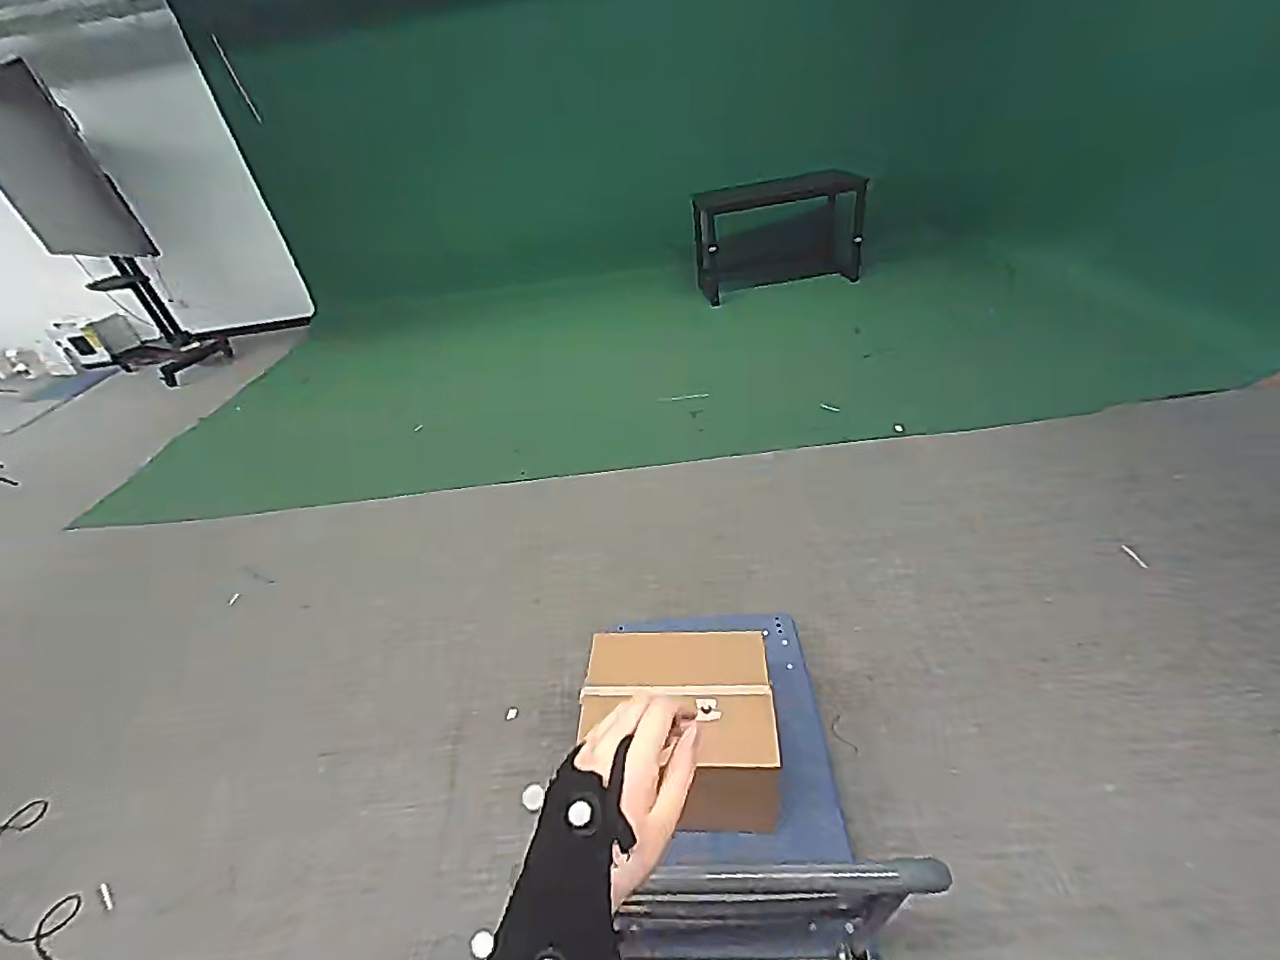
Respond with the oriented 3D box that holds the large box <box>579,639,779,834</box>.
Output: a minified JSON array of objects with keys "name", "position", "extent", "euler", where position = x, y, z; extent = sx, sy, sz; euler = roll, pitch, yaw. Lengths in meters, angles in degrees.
[{"name":"large box","position":[0.093,0.597,1.267],"extent":[0.408,0.320,0.320],"euler":[-2,36,6]}]
